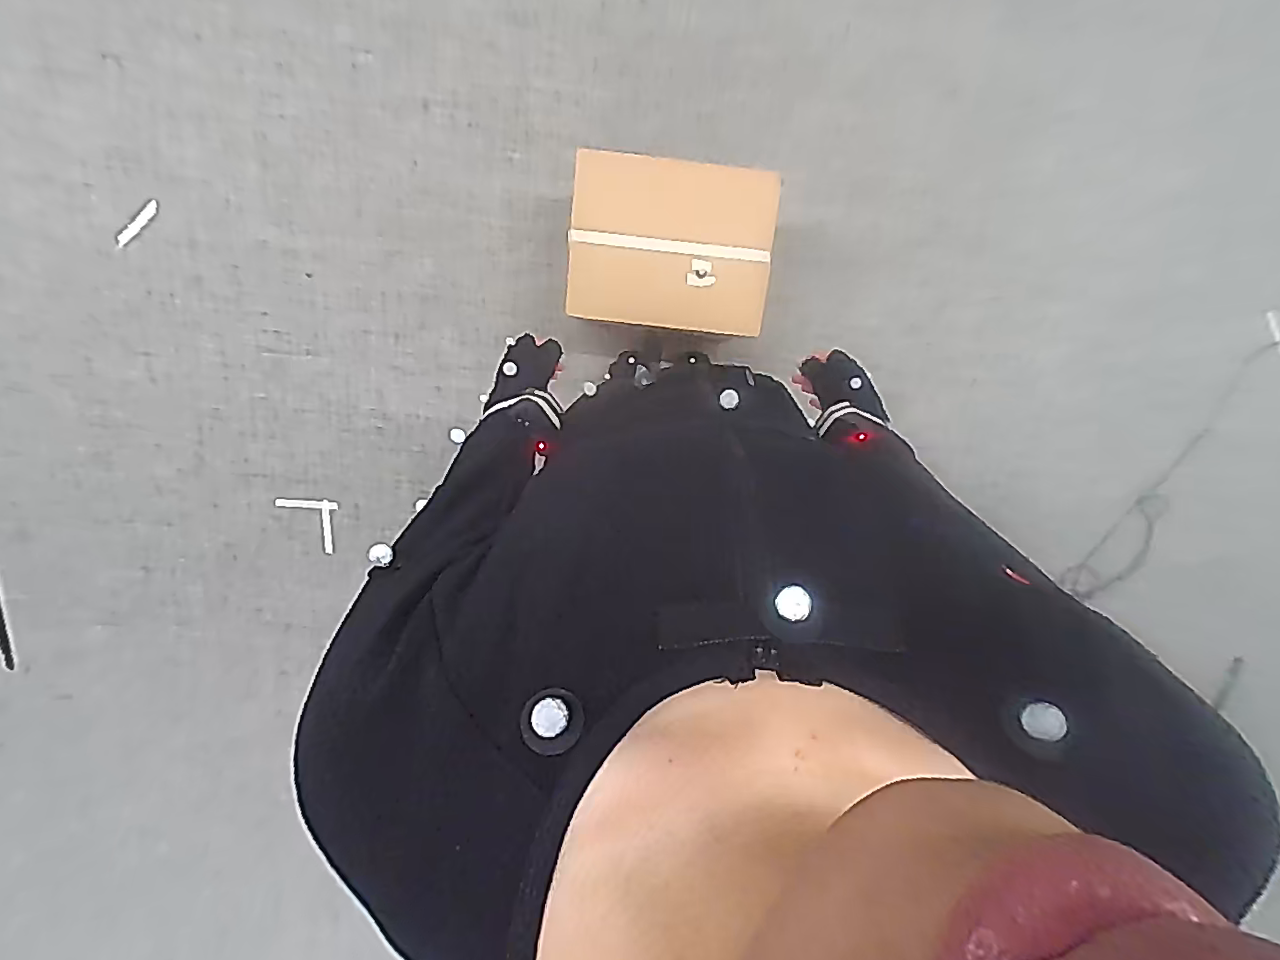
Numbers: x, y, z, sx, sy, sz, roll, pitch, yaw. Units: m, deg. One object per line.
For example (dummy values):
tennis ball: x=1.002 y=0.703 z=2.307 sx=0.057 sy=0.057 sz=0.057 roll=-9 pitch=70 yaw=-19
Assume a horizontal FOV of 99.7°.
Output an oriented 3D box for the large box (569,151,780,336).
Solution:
large box: x=0.059 y=-0.503 z=1.223 sx=0.408 sy=0.320 sz=0.320 roll=5 pitch=105 yaw=-2
